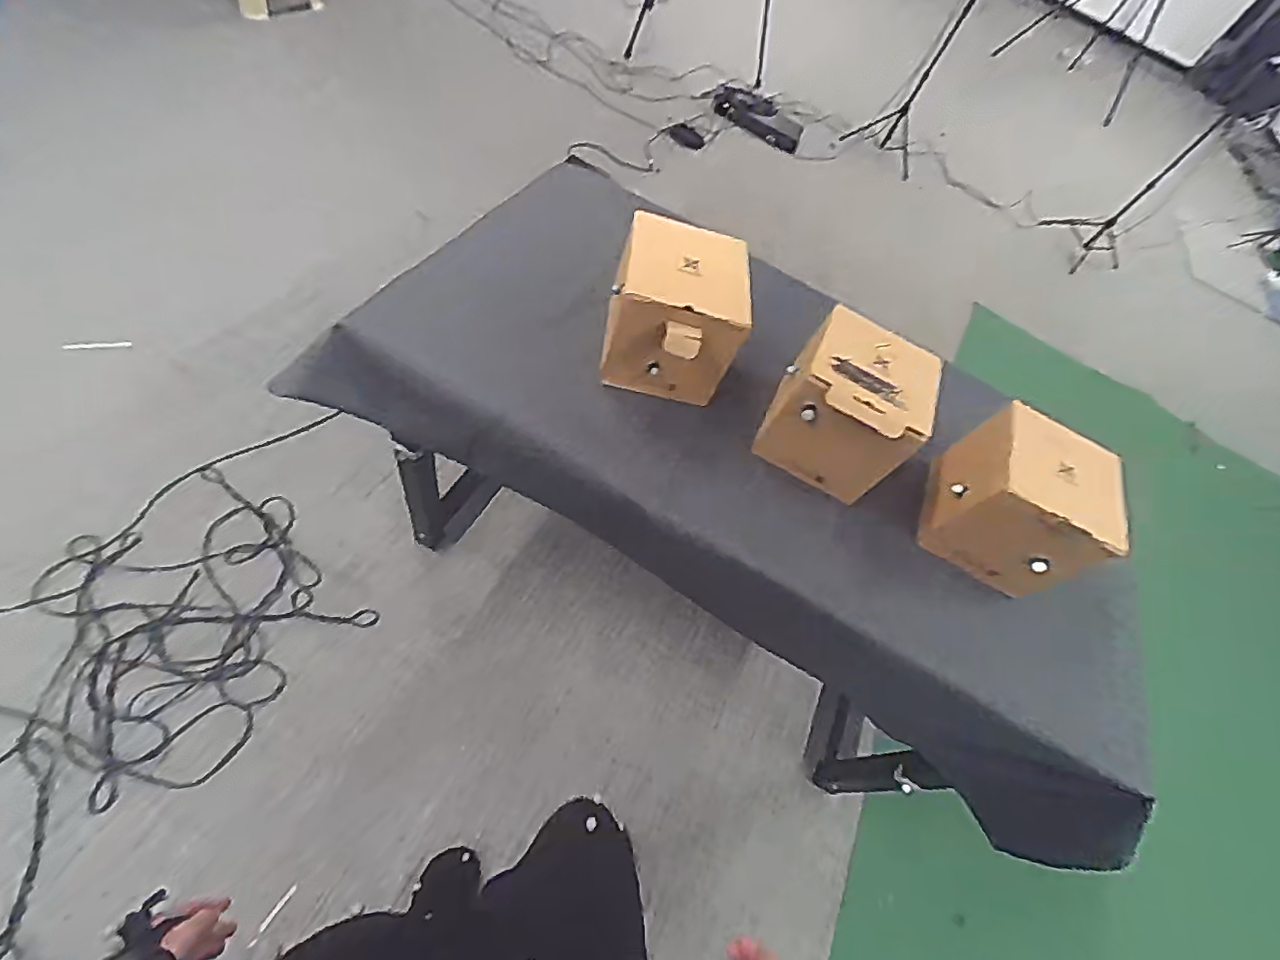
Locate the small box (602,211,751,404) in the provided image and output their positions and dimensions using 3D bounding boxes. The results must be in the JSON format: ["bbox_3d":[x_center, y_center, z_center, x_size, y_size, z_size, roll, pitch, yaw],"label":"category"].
[{"bbox_3d":[0.046,-0.239,0.773,0.168,0.176,0.179,11,58,-11],"label":"small box"}]

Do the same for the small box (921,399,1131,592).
[{"bbox_3d":[0.524,0.029,0.756,0.168,0.176,0.179,30,55,1],"label":"small box"}]
